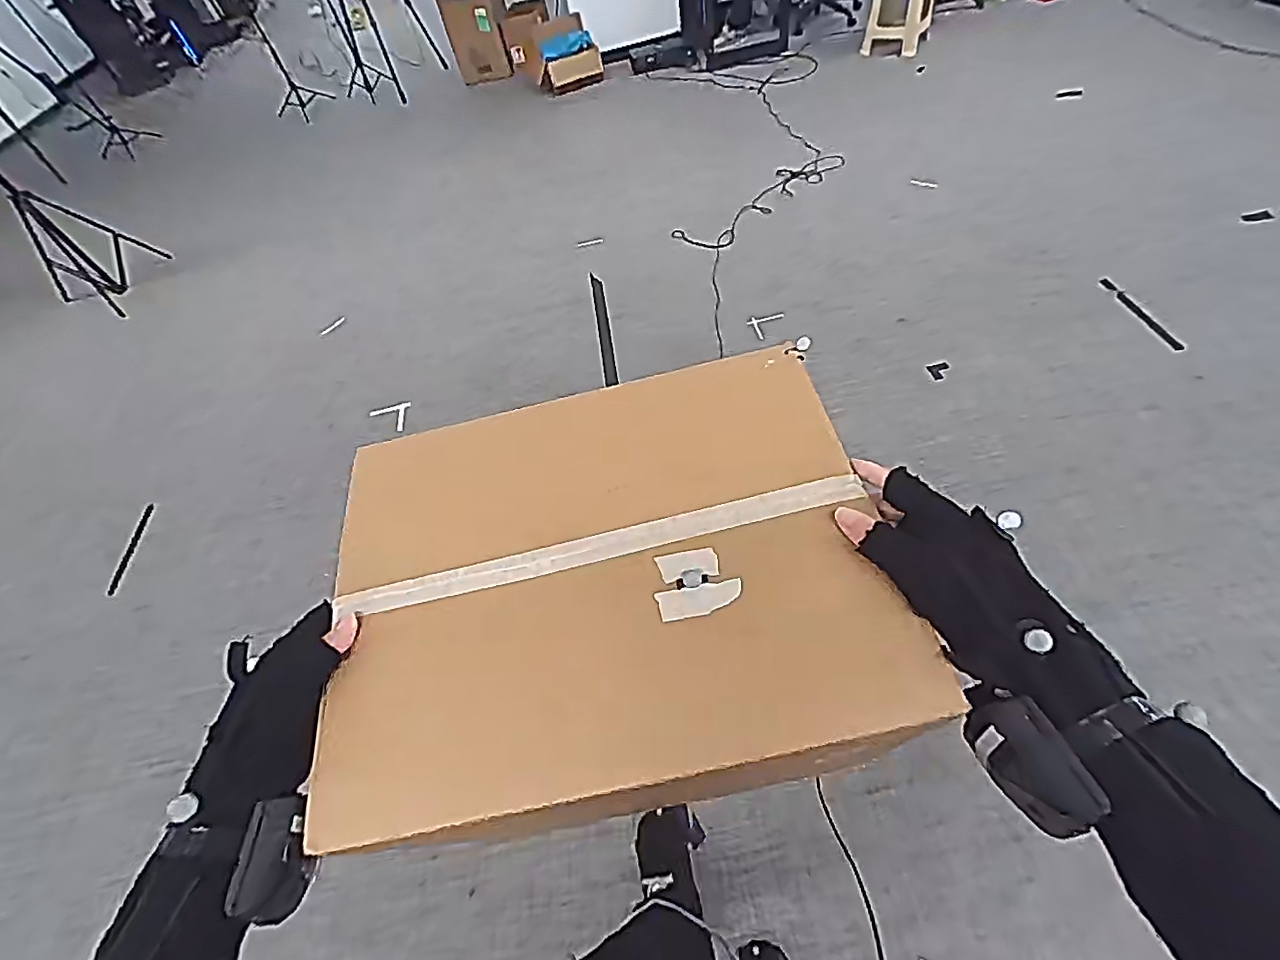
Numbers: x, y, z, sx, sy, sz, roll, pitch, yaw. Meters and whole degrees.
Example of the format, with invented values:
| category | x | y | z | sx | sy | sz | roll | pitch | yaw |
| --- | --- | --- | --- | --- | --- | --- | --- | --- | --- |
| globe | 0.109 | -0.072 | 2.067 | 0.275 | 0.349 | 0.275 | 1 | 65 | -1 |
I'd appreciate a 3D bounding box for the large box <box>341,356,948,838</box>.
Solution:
| category | x | y | z | sx | sy | sz | roll | pitch | yaw |
| --- | --- | --- | --- | --- | --- | --- | --- | --- | --- |
| large box | -0.005 | 0.134 | 0.543 | 0.408 | 0.320 | 0.320 | -13 | 57 | 1 |
